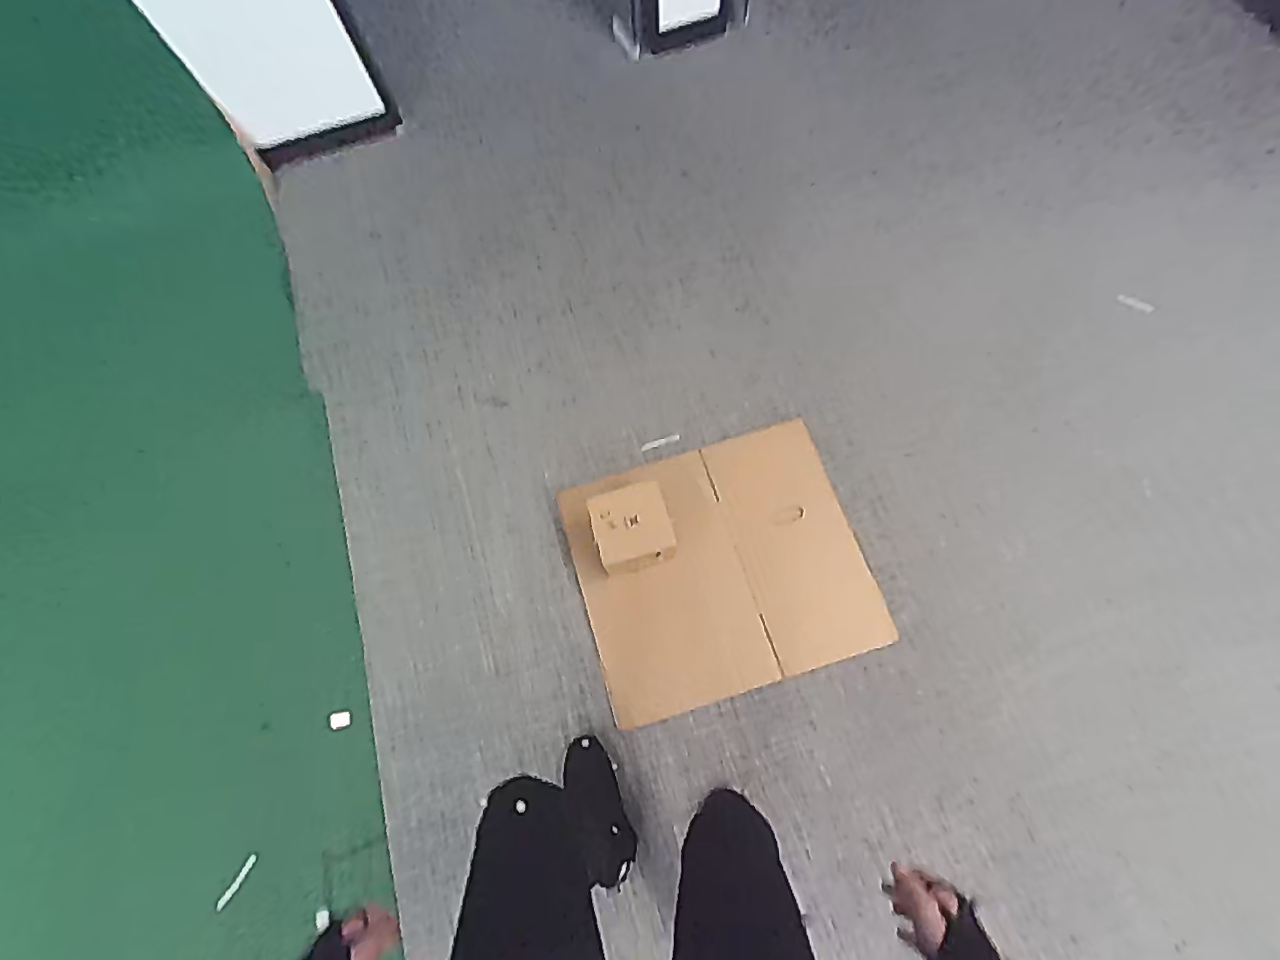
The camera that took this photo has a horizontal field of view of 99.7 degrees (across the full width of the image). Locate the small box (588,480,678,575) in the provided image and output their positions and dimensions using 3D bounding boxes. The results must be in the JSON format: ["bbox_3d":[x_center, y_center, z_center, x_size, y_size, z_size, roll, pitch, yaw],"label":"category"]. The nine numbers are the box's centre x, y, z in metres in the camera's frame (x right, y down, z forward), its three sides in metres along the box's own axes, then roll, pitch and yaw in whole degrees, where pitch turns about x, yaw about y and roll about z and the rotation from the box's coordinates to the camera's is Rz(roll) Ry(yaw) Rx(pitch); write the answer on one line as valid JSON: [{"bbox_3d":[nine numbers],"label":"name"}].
[{"bbox_3d":[-0.015,0.120,1.302,0.179,0.176,0.168,-16,71,-2],"label":"small box"}]
